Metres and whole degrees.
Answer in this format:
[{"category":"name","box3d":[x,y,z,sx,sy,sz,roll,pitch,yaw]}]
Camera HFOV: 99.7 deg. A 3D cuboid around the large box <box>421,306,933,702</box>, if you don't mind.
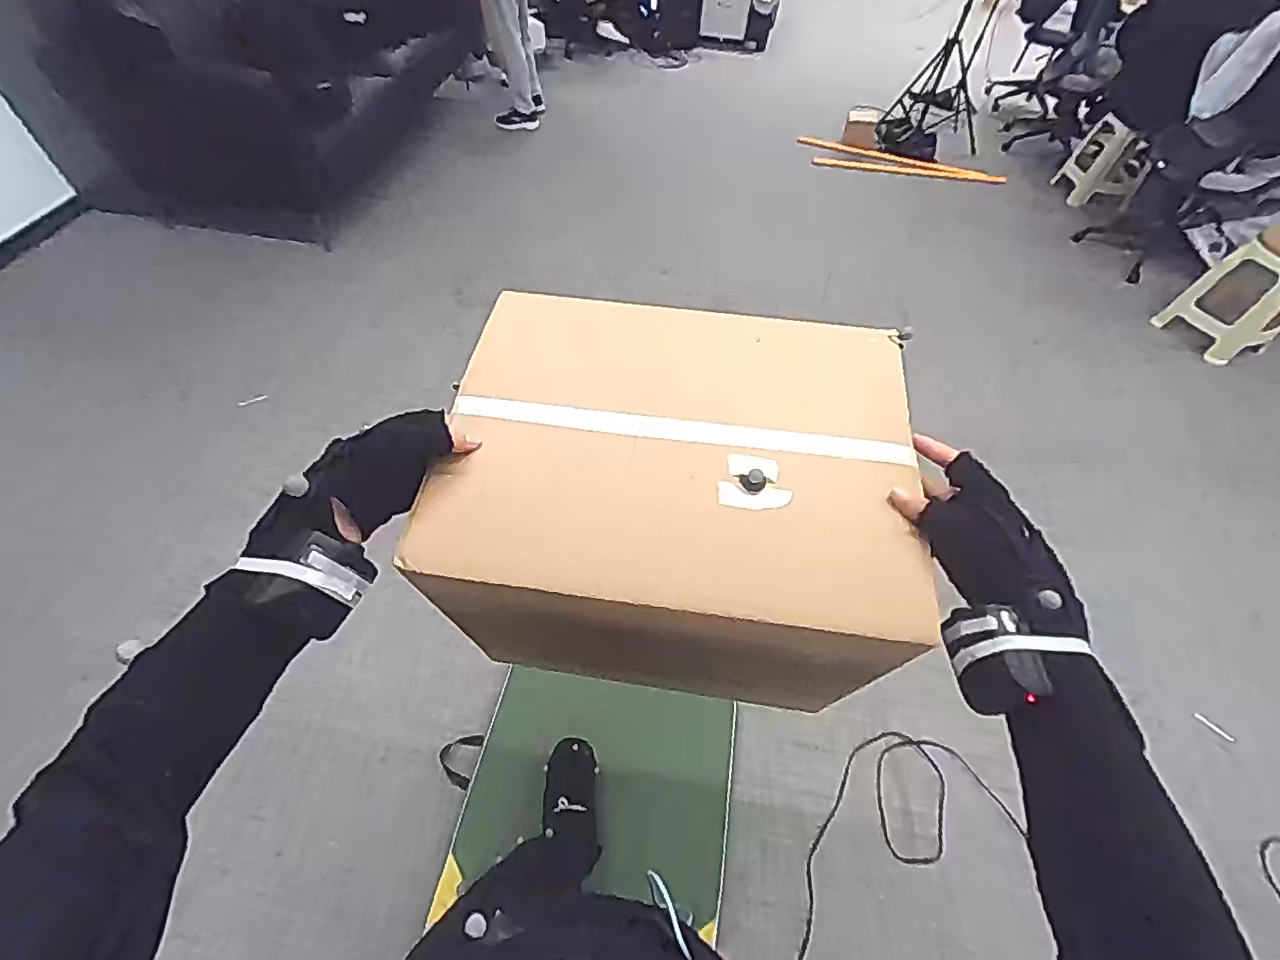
[{"category":"large box","box3d":[0.038,0.041,0.615,0.408,0.320,0.320,7,59,4]}]
